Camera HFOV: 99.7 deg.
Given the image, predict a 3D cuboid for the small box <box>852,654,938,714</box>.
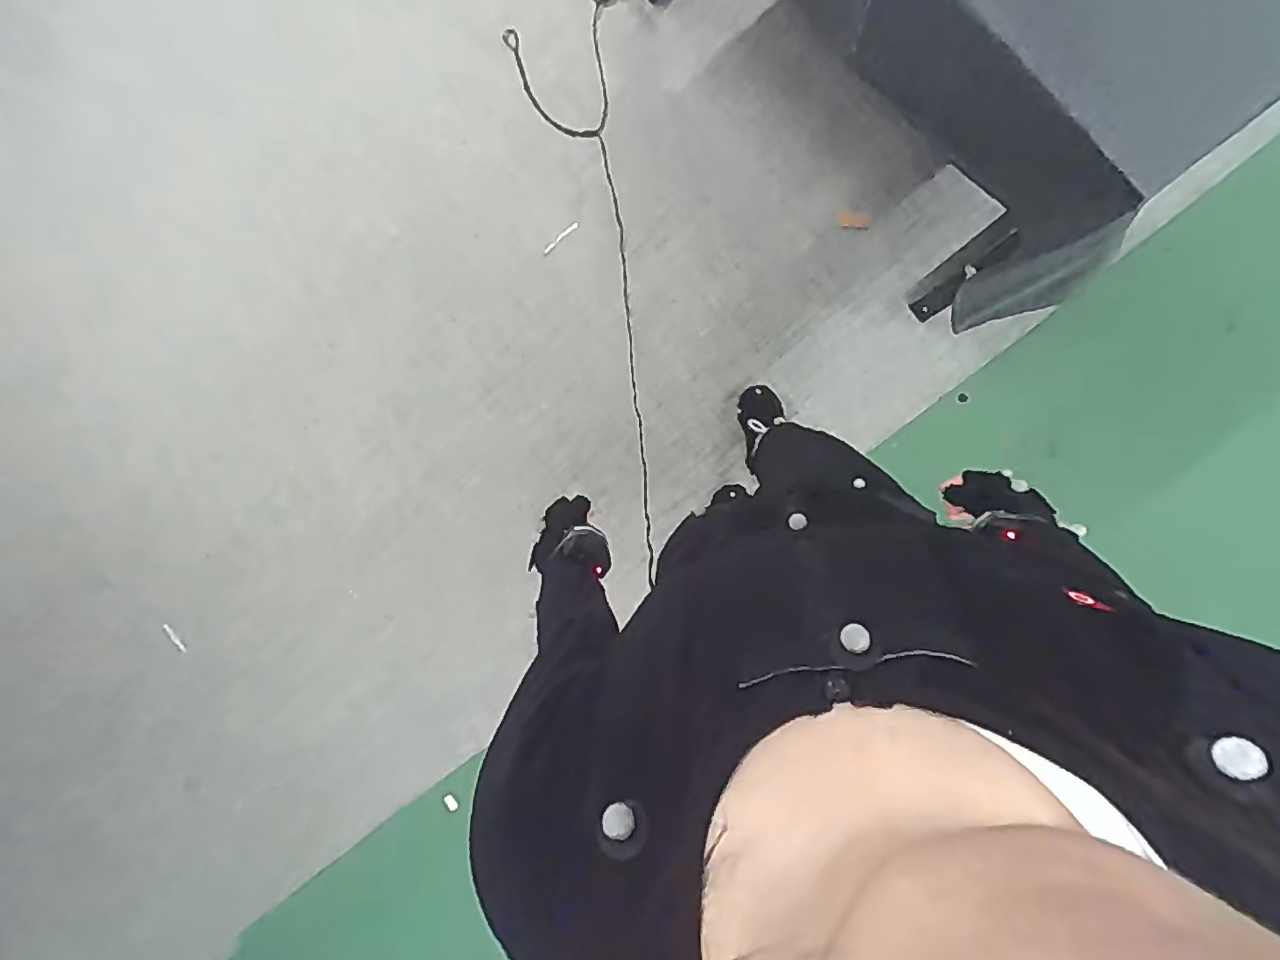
[{"bbox_3d":[0.668,0.565,1.367,0.168,0.176,0.179,-34,89,7],"label":"small box"}]
